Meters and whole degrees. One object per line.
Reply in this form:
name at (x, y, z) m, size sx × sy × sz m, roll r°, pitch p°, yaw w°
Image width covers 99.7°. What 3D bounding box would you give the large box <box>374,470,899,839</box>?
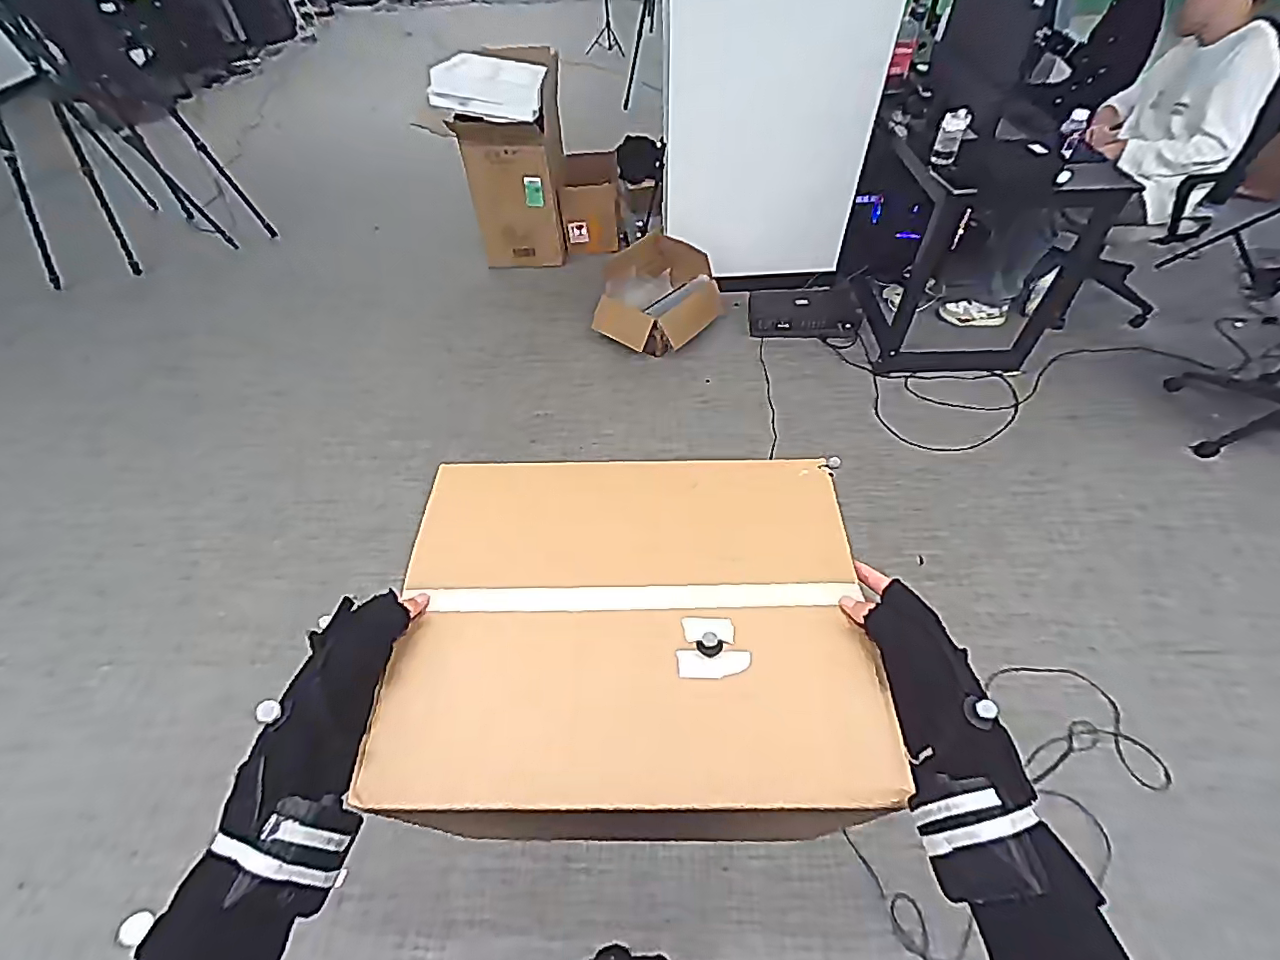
large box at (-0.003, 0.204, 0.609) m, size 0.408 × 0.320 × 0.320 m, roll 0°, pitch 53°, yaw 1°
